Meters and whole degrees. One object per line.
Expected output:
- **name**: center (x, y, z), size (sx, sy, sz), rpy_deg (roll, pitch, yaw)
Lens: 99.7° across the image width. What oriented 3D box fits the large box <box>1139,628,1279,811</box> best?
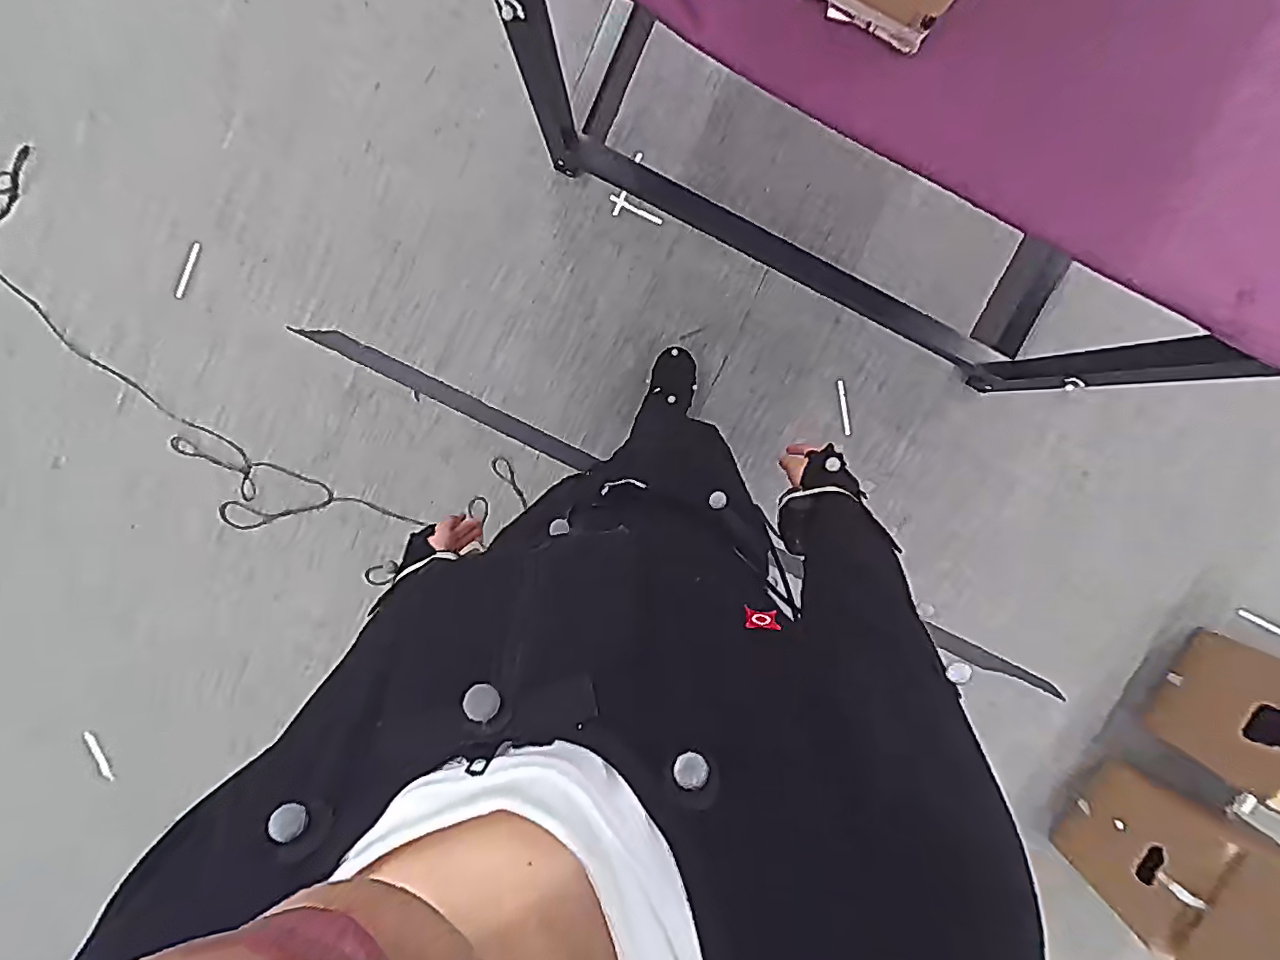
- **large box**: center (1.589, 0.620, 1.310), size (0.408, 0.320, 0.320), rpy_deg (24, 96, -3)
